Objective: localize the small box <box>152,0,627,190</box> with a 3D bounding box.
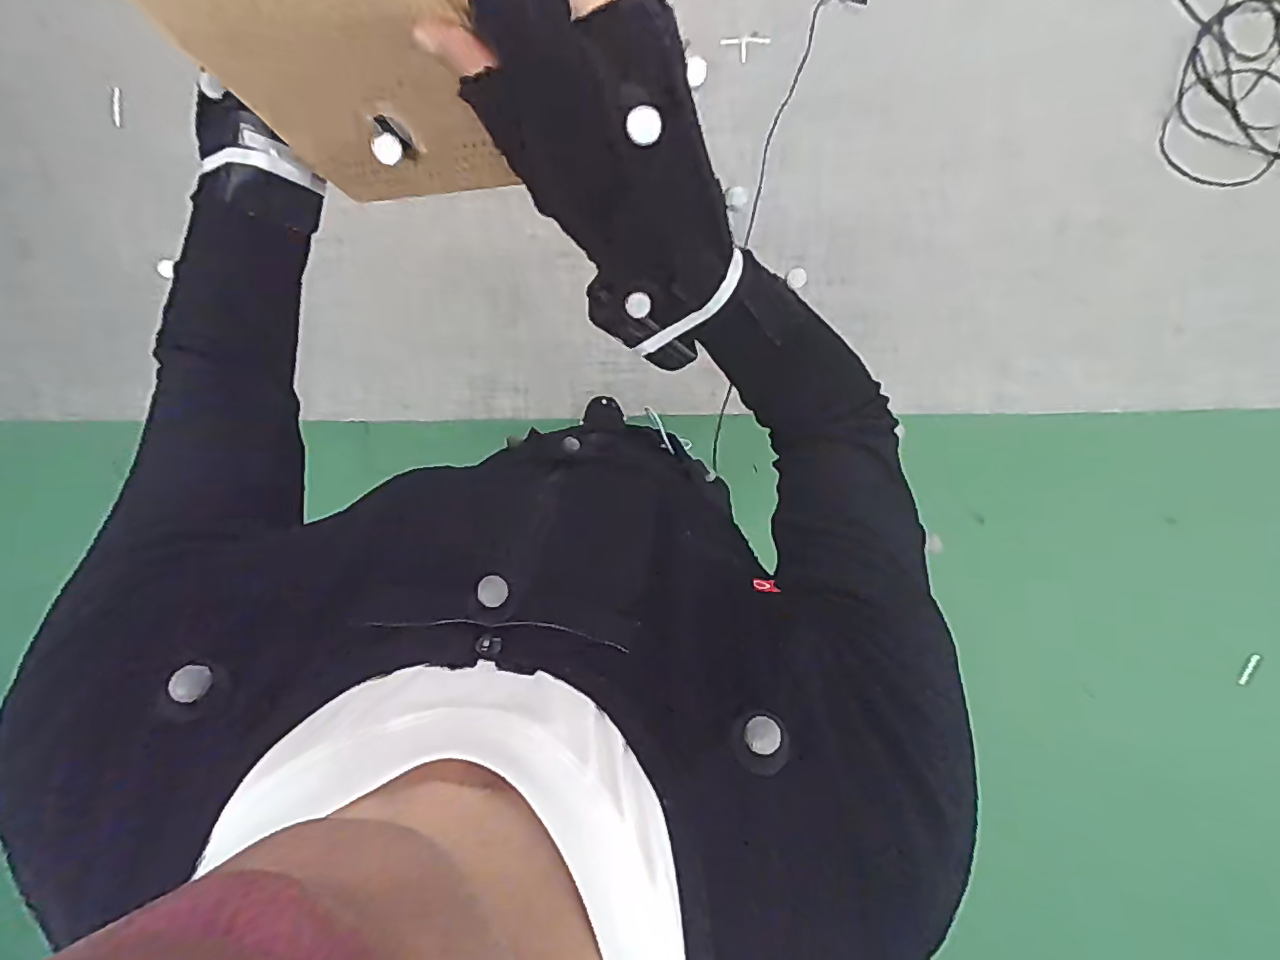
[{"bbox_3d":[-0.122,-0.279,0.275,0.179,0.176,0.168,11,76,28],"label":"small box"}]
